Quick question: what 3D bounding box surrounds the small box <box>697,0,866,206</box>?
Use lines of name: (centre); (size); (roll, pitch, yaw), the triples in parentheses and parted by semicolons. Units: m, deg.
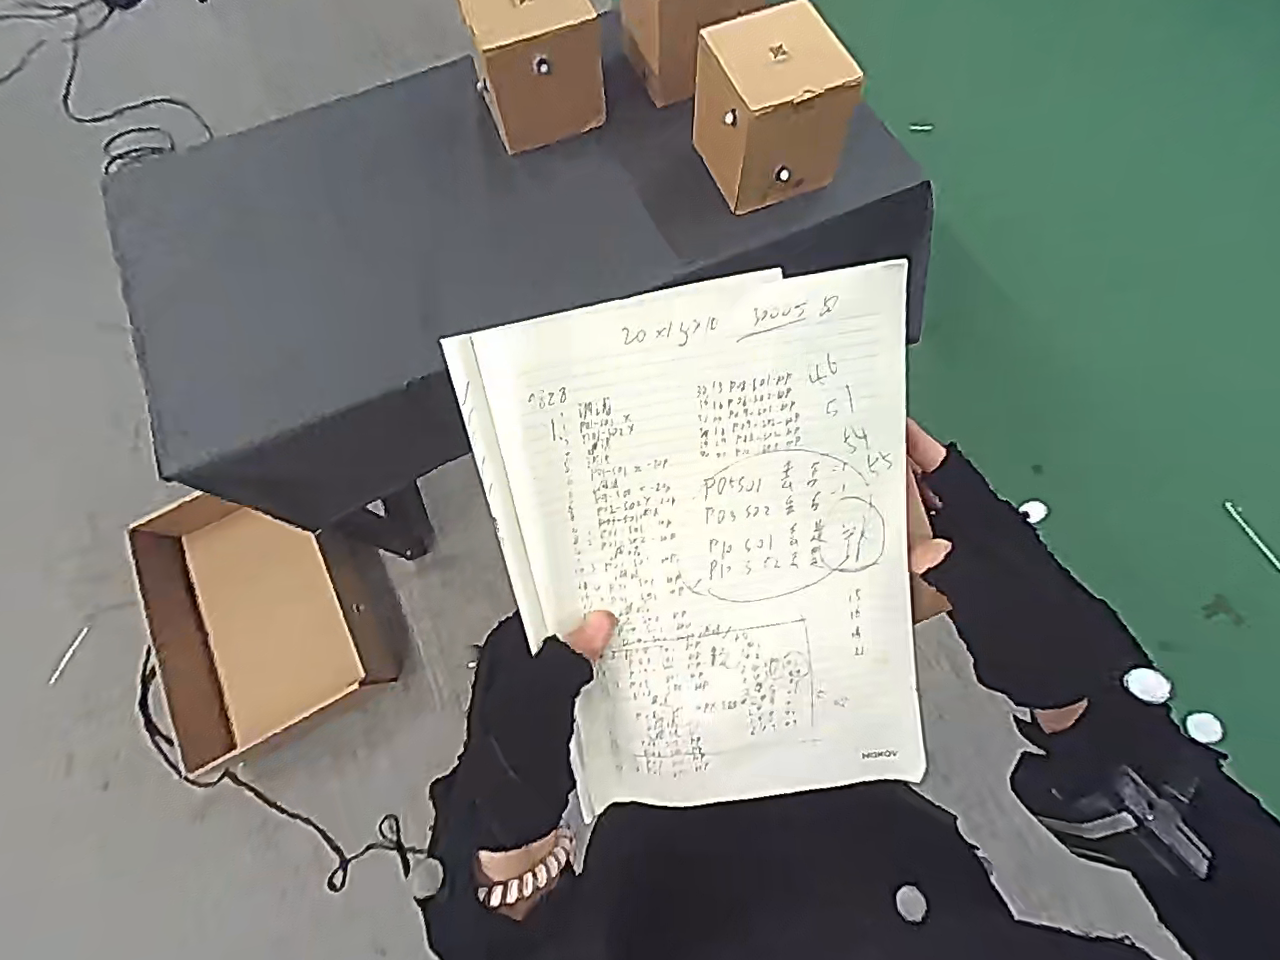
small box: (0.192, -0.548, 0.798); (0.168, 0.176, 0.179); (-20, 72, -5)

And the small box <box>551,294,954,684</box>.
small box: (0.061, 0.001, 0.364); (0.179, 0.176, 0.168); (-20, 96, 1)
